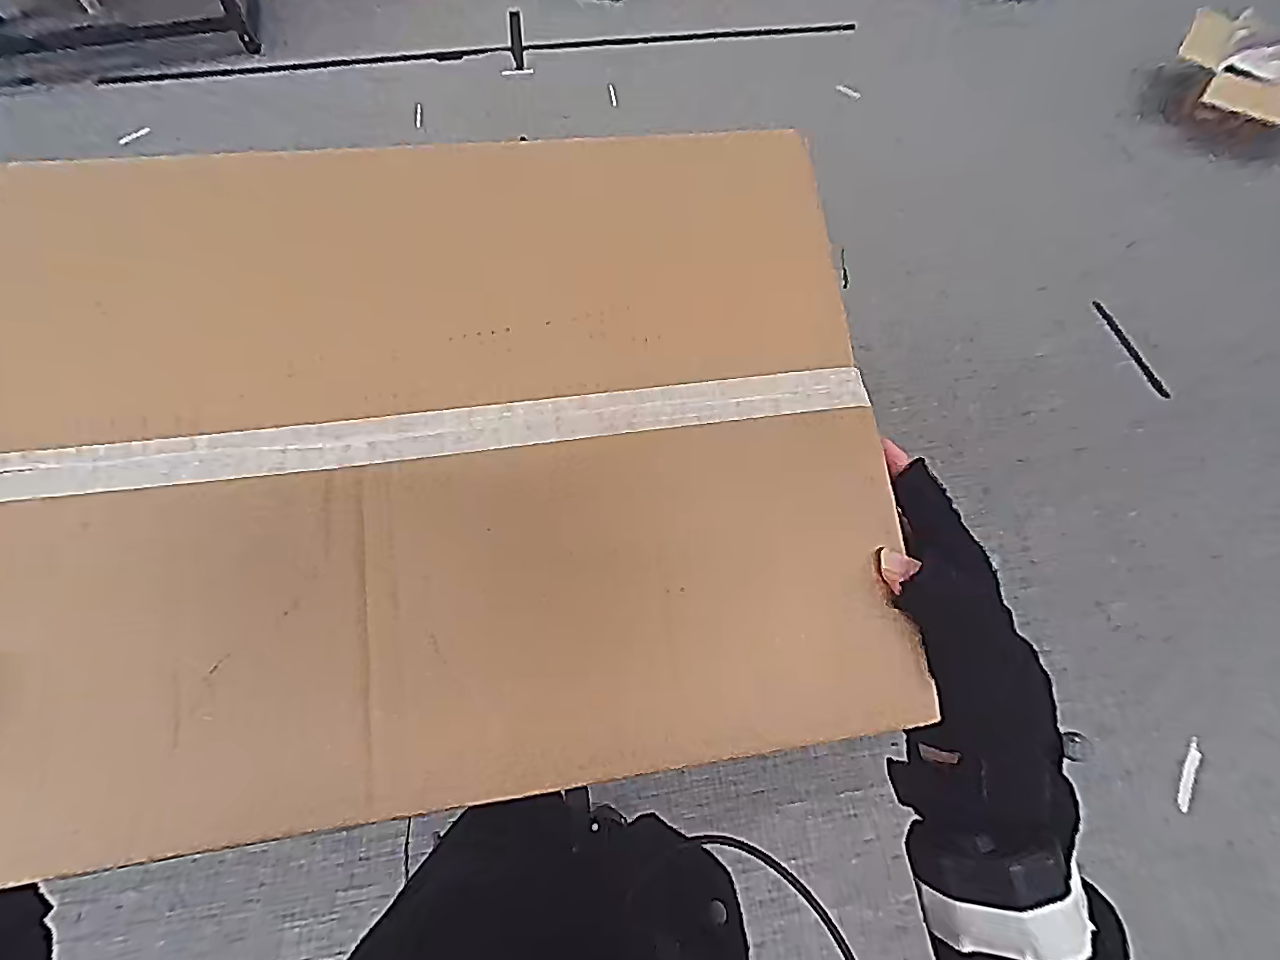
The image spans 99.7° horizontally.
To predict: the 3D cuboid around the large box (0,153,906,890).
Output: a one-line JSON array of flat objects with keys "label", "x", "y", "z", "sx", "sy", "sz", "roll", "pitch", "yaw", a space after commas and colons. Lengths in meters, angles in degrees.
[{"label": "large box", "x": -0.101, "y": 0.017, "z": 0.403, "sx": 0.408, "sy": 0.320, "sz": 0.320, "roll": -7, "pitch": 78, "yaw": -6}]
